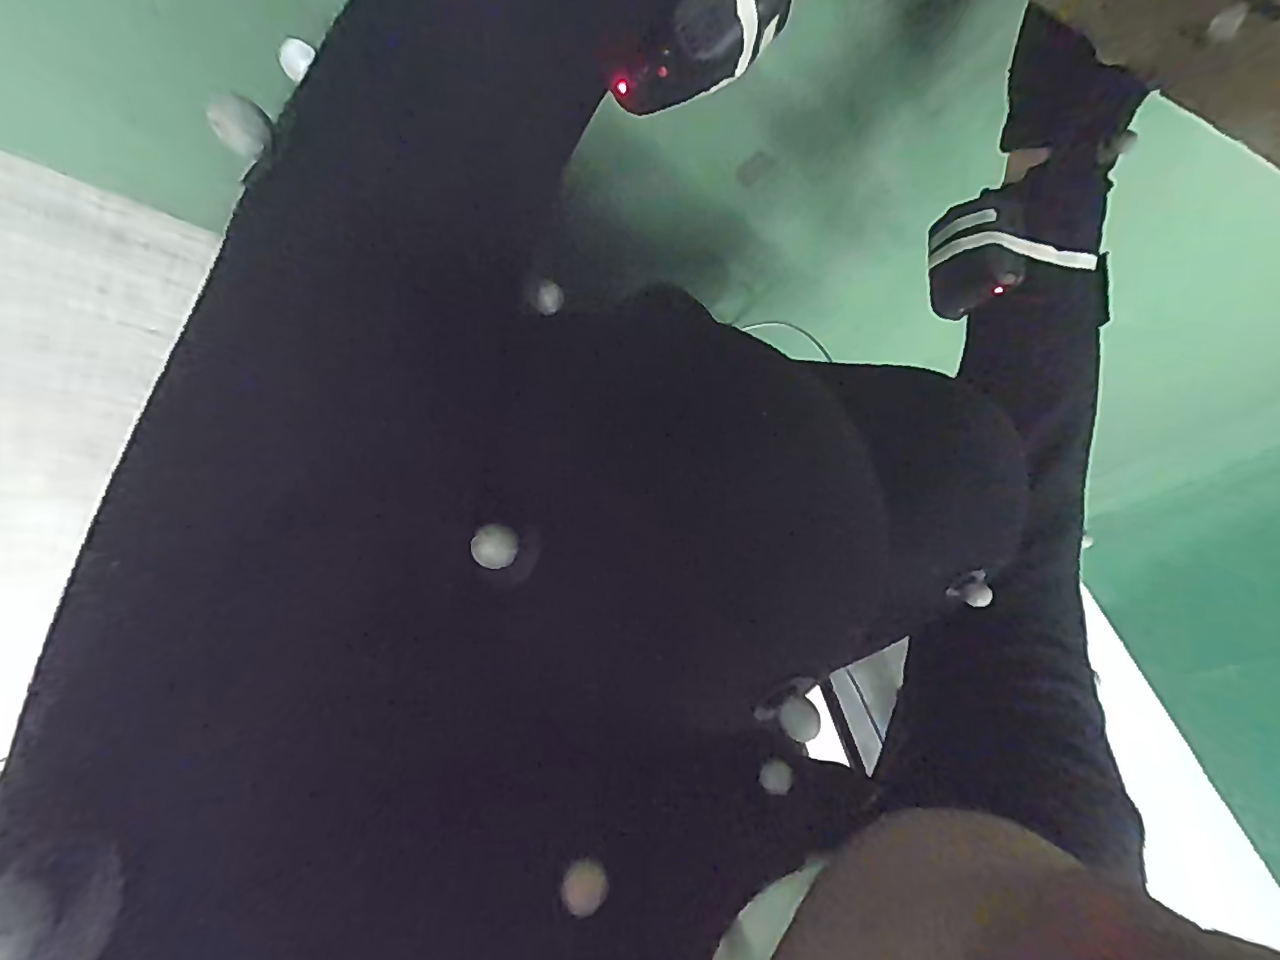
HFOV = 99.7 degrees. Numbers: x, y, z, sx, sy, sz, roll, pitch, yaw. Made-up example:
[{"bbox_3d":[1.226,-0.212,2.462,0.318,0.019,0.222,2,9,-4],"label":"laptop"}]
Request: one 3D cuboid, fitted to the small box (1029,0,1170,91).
[{"bbox_3d":[0.243,-0.324,0.214,0.168,0.176,0.179,12,141,-43],"label":"small box"}]
